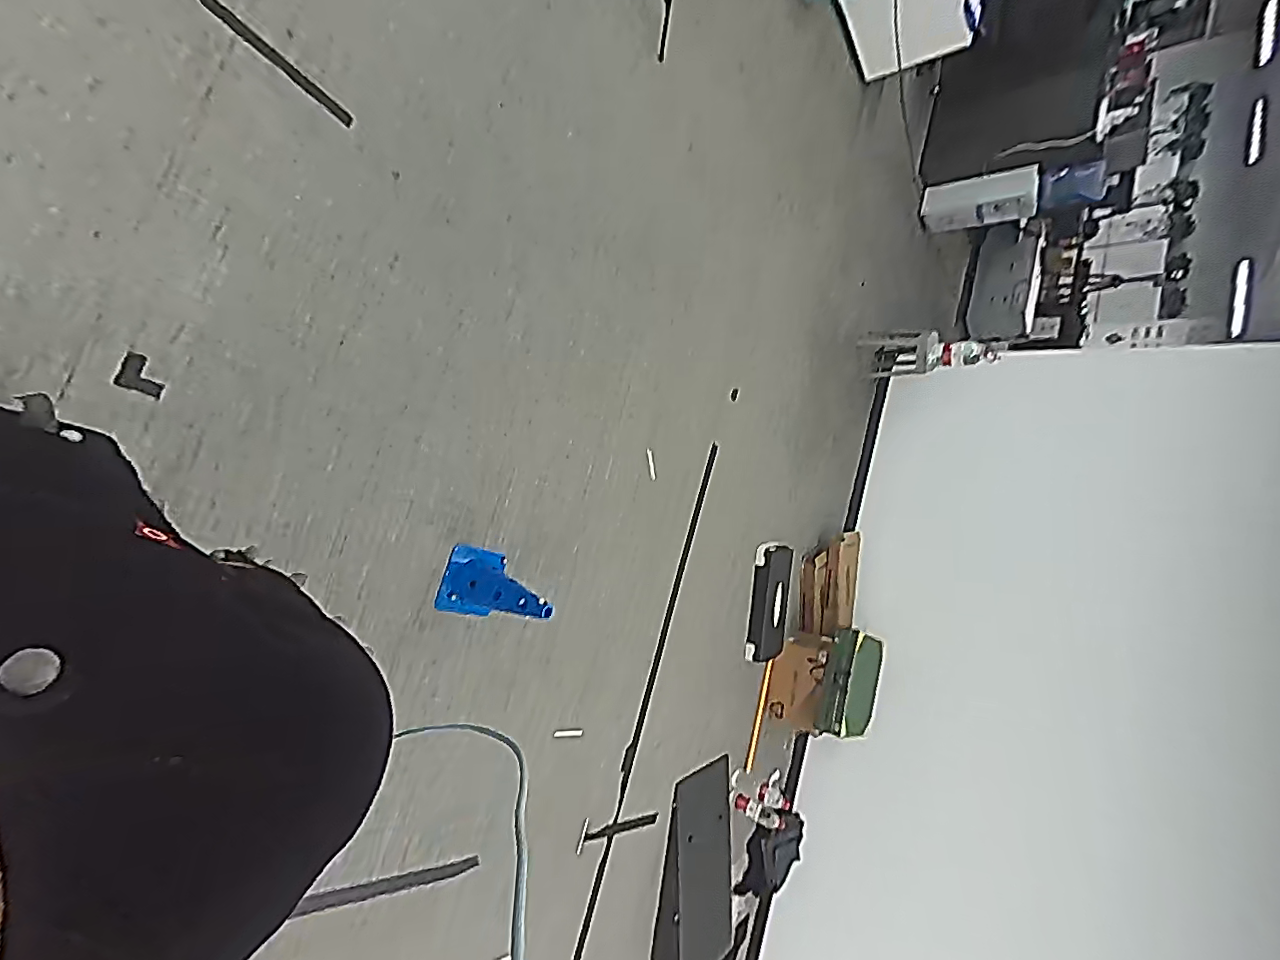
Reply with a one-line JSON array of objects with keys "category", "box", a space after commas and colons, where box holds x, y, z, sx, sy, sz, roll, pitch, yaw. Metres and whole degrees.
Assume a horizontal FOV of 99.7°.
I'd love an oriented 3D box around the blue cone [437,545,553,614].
[{"category": "blue cone", "box": [-0.383, 0.316, 1.518, 0.193, 0.380, 0.192, 29, 73, -48]}]
